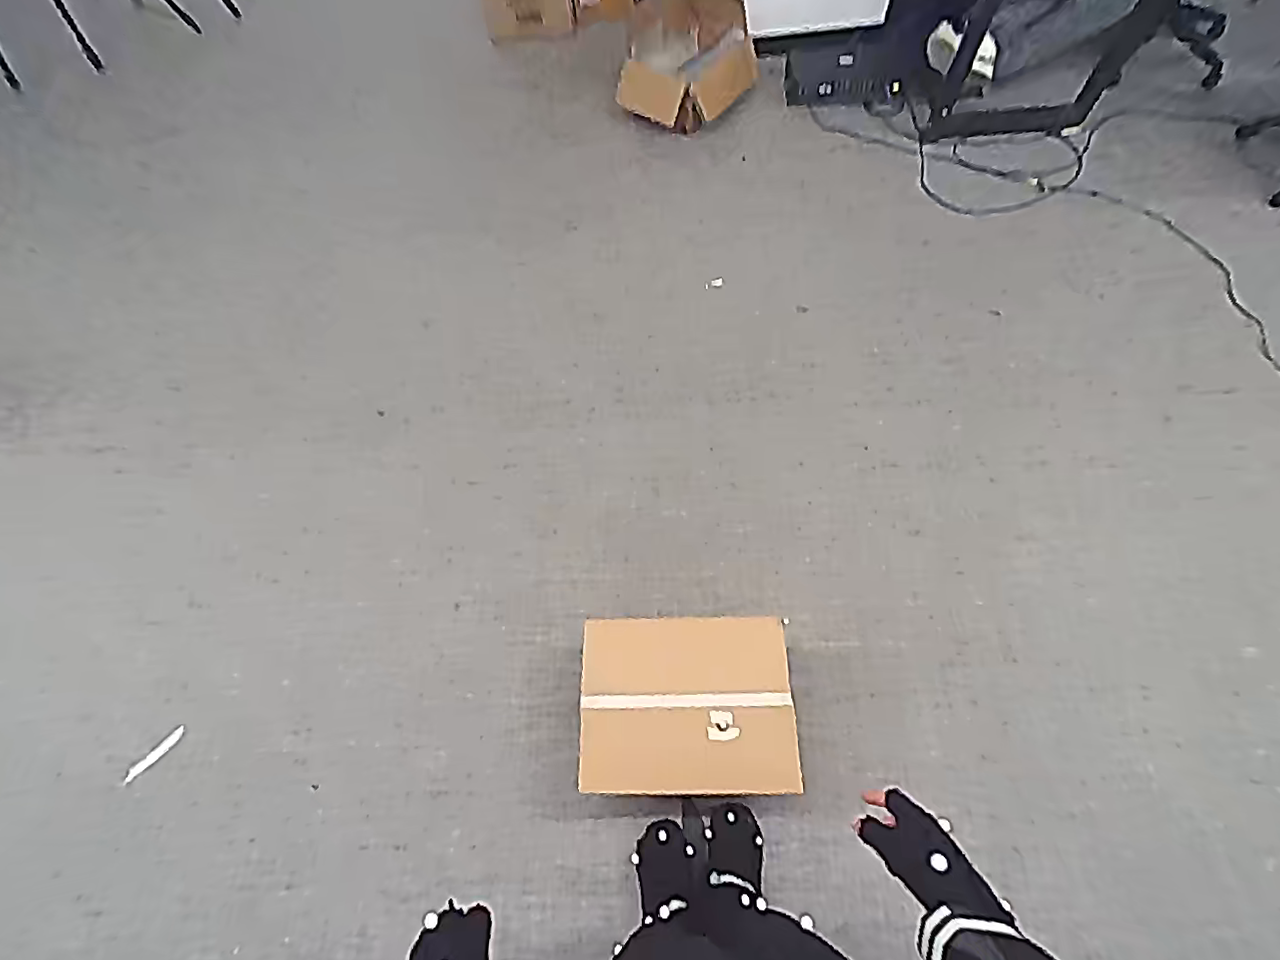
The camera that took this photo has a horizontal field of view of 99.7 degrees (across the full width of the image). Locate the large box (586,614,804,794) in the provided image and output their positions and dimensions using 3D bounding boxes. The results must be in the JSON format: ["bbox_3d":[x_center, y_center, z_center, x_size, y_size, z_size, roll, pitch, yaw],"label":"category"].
[{"bbox_3d":[0.100,0.486,1.176,0.408,0.320,0.320,-2,65,2],"label":"large box"}]
